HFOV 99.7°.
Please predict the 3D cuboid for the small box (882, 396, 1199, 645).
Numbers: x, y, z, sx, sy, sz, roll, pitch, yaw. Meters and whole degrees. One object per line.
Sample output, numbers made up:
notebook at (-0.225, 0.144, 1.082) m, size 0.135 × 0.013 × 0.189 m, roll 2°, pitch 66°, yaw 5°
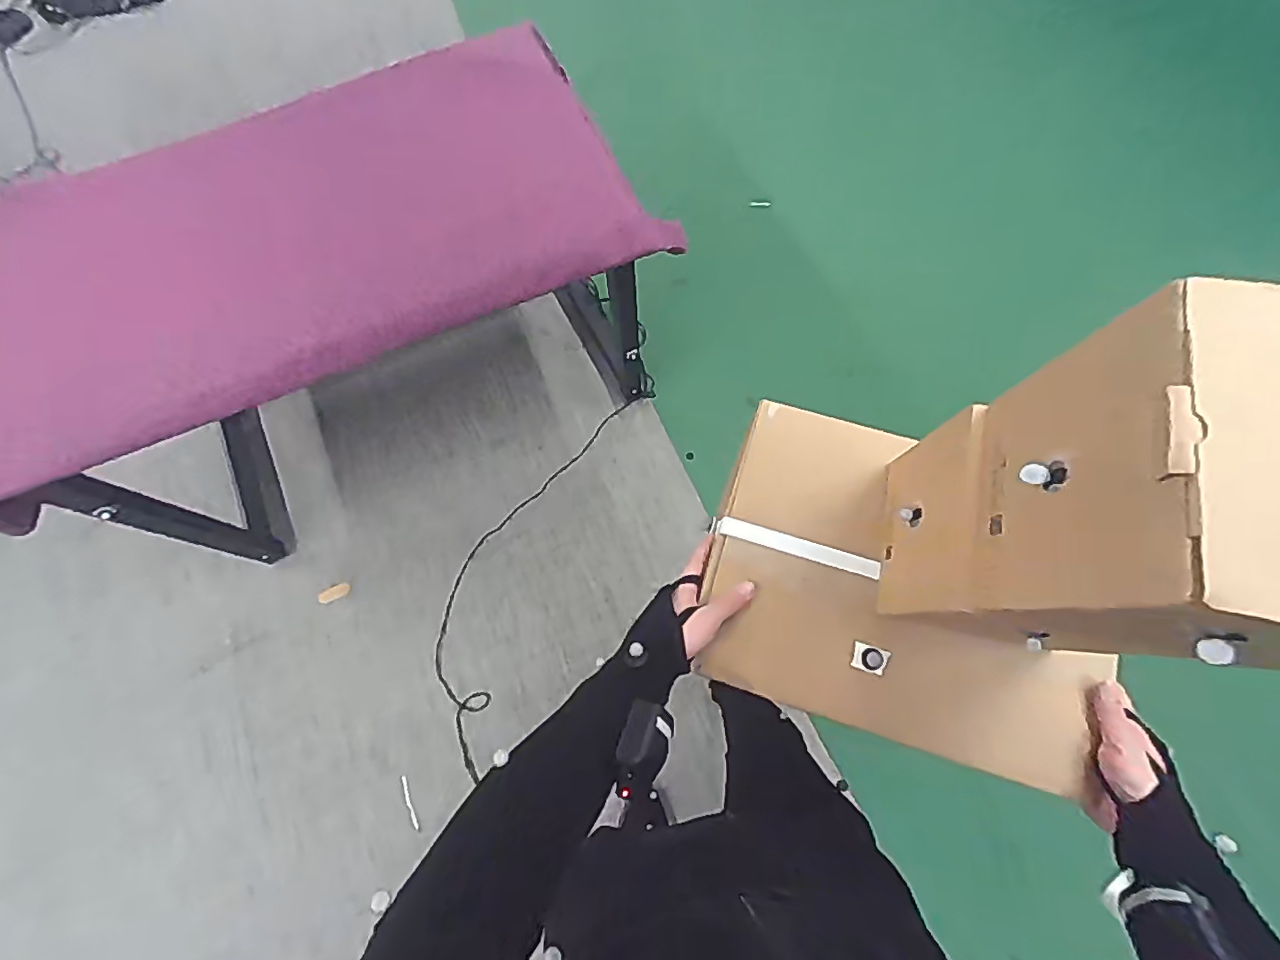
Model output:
small box at (0.336, 0.044, 0.481) m, size 0.179 × 0.176 × 0.168 m, roll 11°, pitch 77°, yaw 6°
